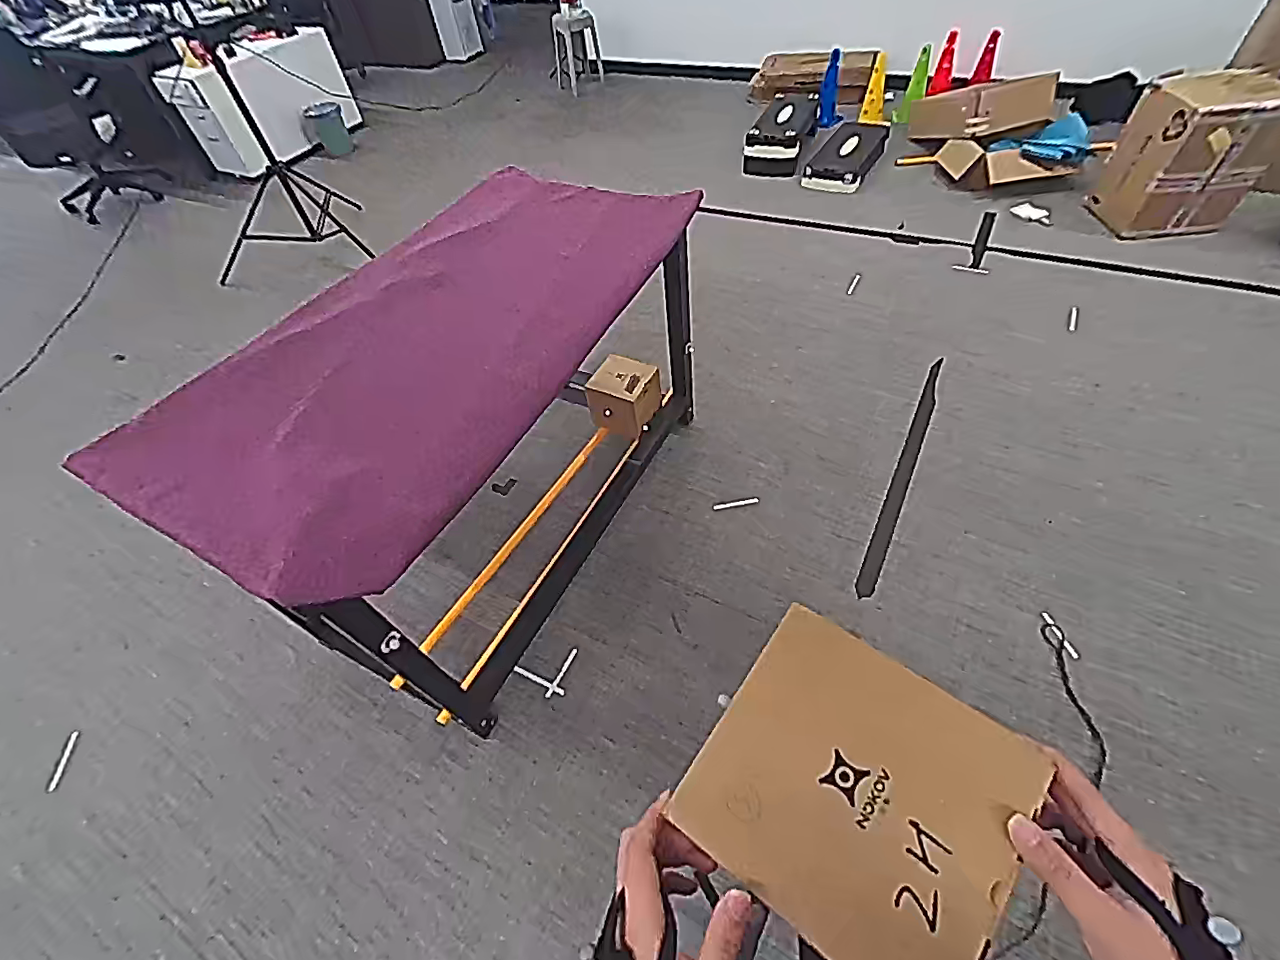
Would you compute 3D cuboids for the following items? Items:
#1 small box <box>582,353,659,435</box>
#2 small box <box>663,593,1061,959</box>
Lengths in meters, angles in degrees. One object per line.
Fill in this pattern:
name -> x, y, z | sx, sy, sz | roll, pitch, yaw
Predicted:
small box -> -0.052, -0.265, 1.693 | 0.179, 0.176, 0.168 | 20, 57, 22
small box -> 0.139, 0.217, 0.389 | 0.179, 0.176, 0.168 | 31, 70, 23
